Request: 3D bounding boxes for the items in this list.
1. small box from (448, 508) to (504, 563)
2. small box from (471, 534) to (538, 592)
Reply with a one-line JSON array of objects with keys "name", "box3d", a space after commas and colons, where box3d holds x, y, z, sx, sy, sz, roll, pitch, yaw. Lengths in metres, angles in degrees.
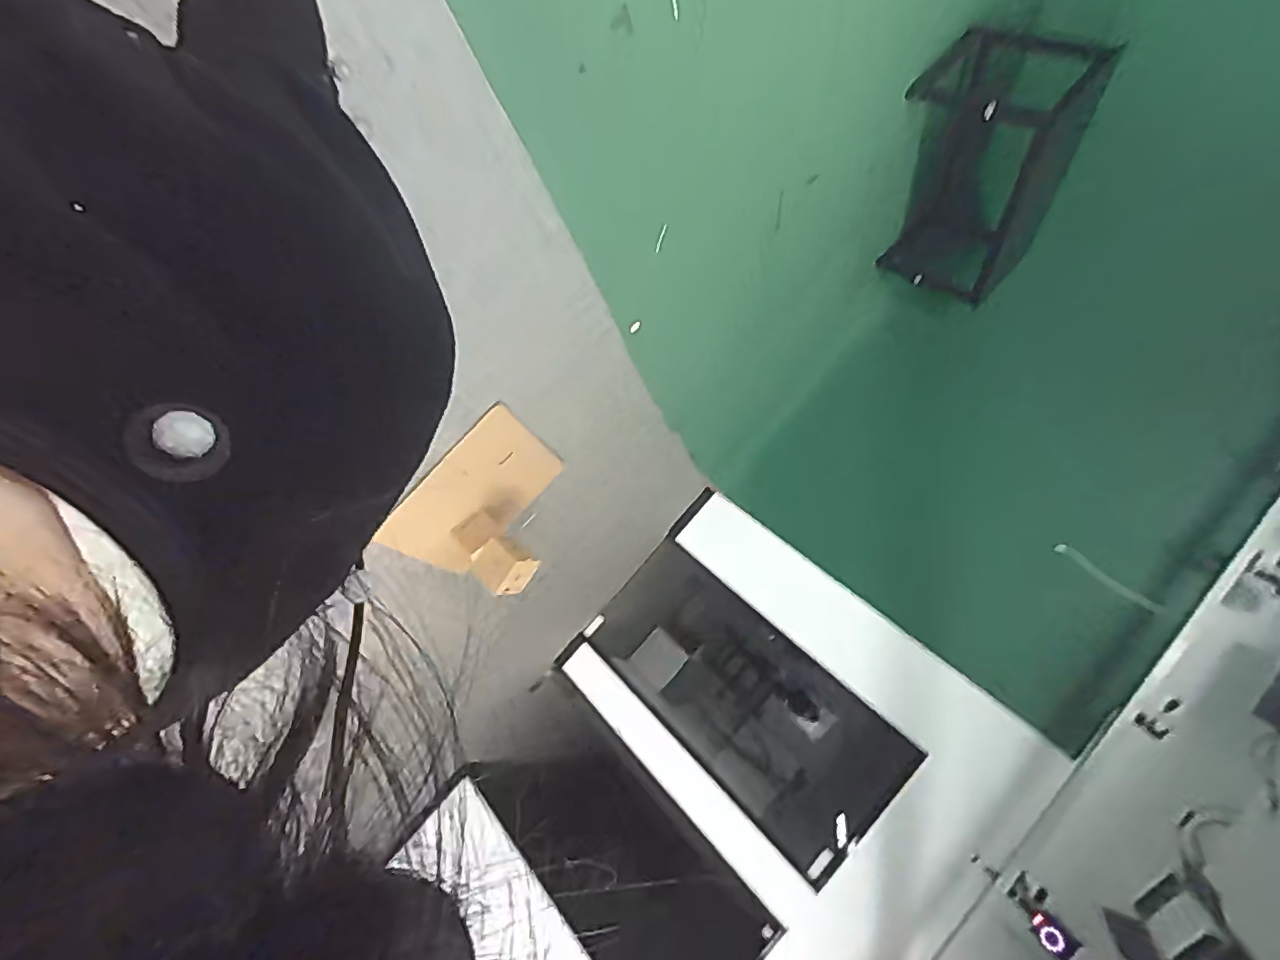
[{"name": "small box", "box3d": [-0.685, 0.251, 2.303, 0.168, 0.176, 0.179, -39, 150, -23]}, {"name": "small box", "box3d": [-0.564, 0.339, 2.237, 0.179, 0.176, 0.168, -56, 153, 9]}]
